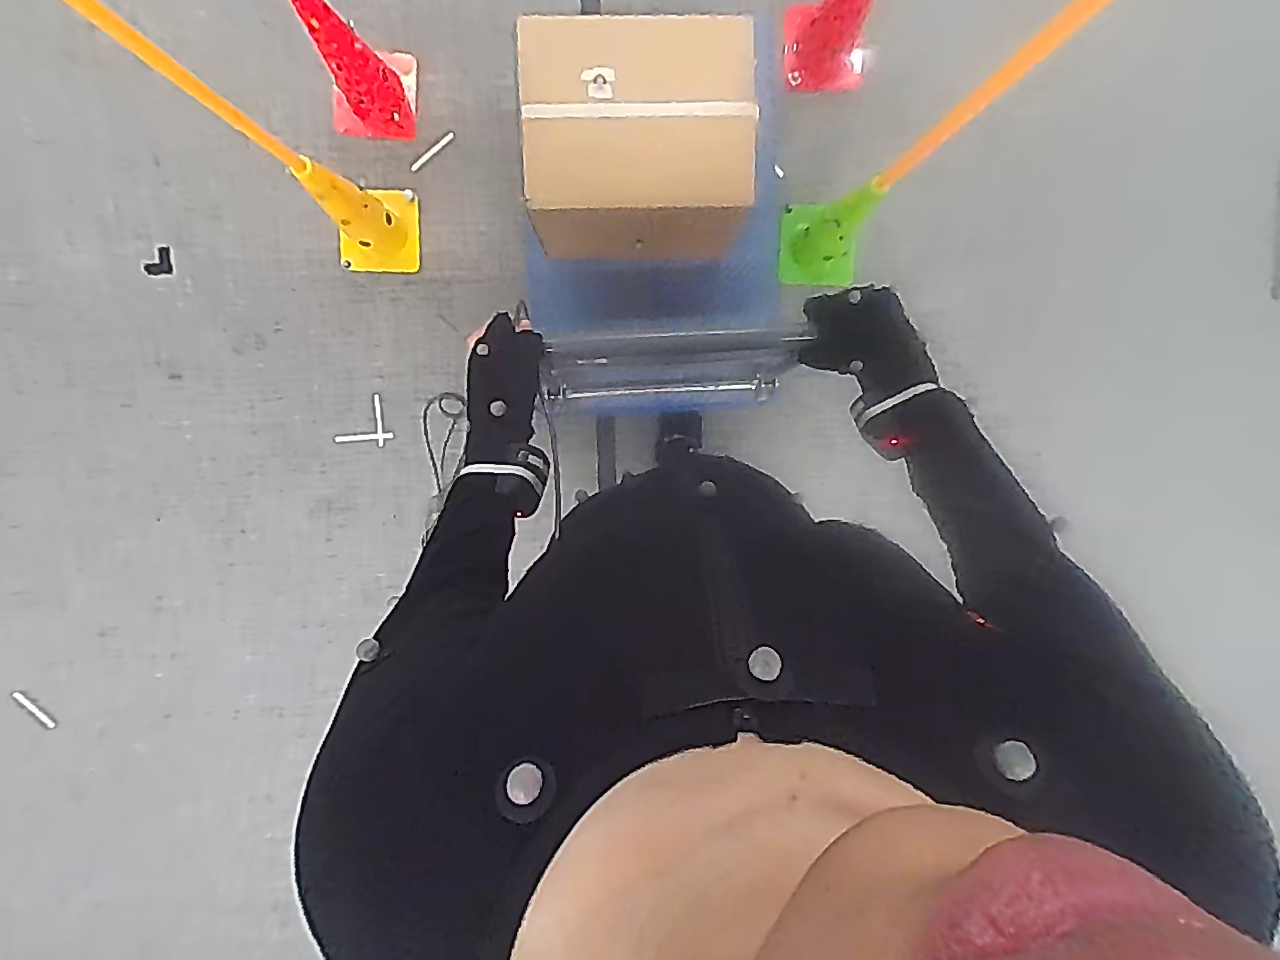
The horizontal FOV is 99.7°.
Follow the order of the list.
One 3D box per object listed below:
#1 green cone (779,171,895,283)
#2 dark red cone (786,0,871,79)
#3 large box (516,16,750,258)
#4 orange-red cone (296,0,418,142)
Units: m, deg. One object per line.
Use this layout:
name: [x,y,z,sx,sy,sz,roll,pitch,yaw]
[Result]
green cone: [0.474,-0.606,1.248,0.202,0.368,0.200,1,96,-3]
dark red cone: [0.473,-1.087,1.182,0.201,0.394,0.202,-3,96,-3]
large box: [-0.009,-0.651,1.086,0.408,0.320,0.320,-2,96,-1]
orange-red cone: [-0.653,-0.948,1.185,0.198,0.360,0.199,5,94,-3]
